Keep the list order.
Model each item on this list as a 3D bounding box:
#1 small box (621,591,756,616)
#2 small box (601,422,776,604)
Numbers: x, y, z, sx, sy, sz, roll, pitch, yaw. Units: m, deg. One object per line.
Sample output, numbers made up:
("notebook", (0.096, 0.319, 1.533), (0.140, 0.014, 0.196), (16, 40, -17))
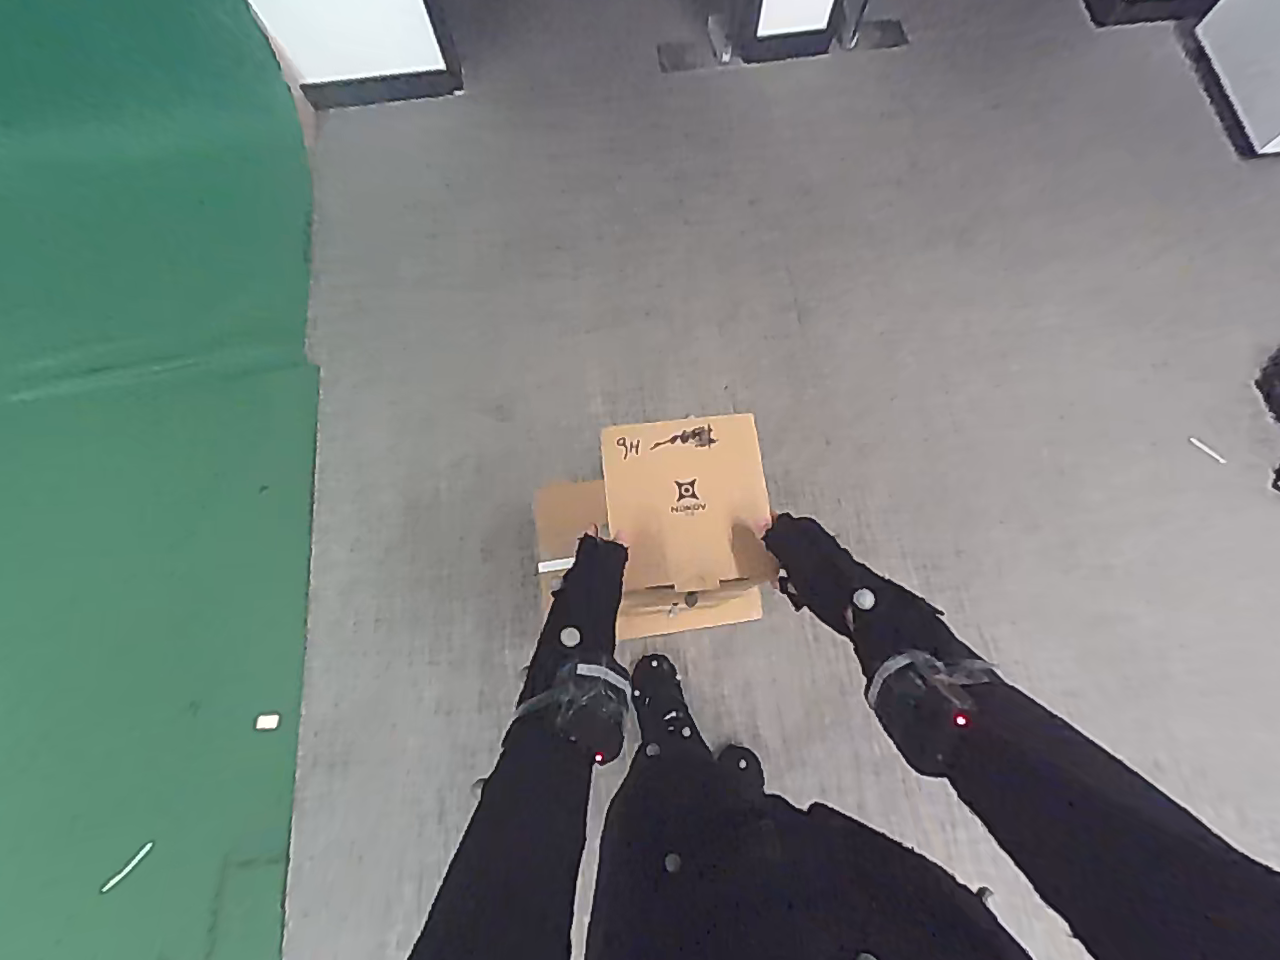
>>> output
("small box", (0.053, 0.103, 0.783), (0.179, 0.176, 0.168), (-8, 75, -2))
("small box", (0.050, 0.049, 0.629), (0.168, 0.176, 0.179), (-6, 75, 0))
